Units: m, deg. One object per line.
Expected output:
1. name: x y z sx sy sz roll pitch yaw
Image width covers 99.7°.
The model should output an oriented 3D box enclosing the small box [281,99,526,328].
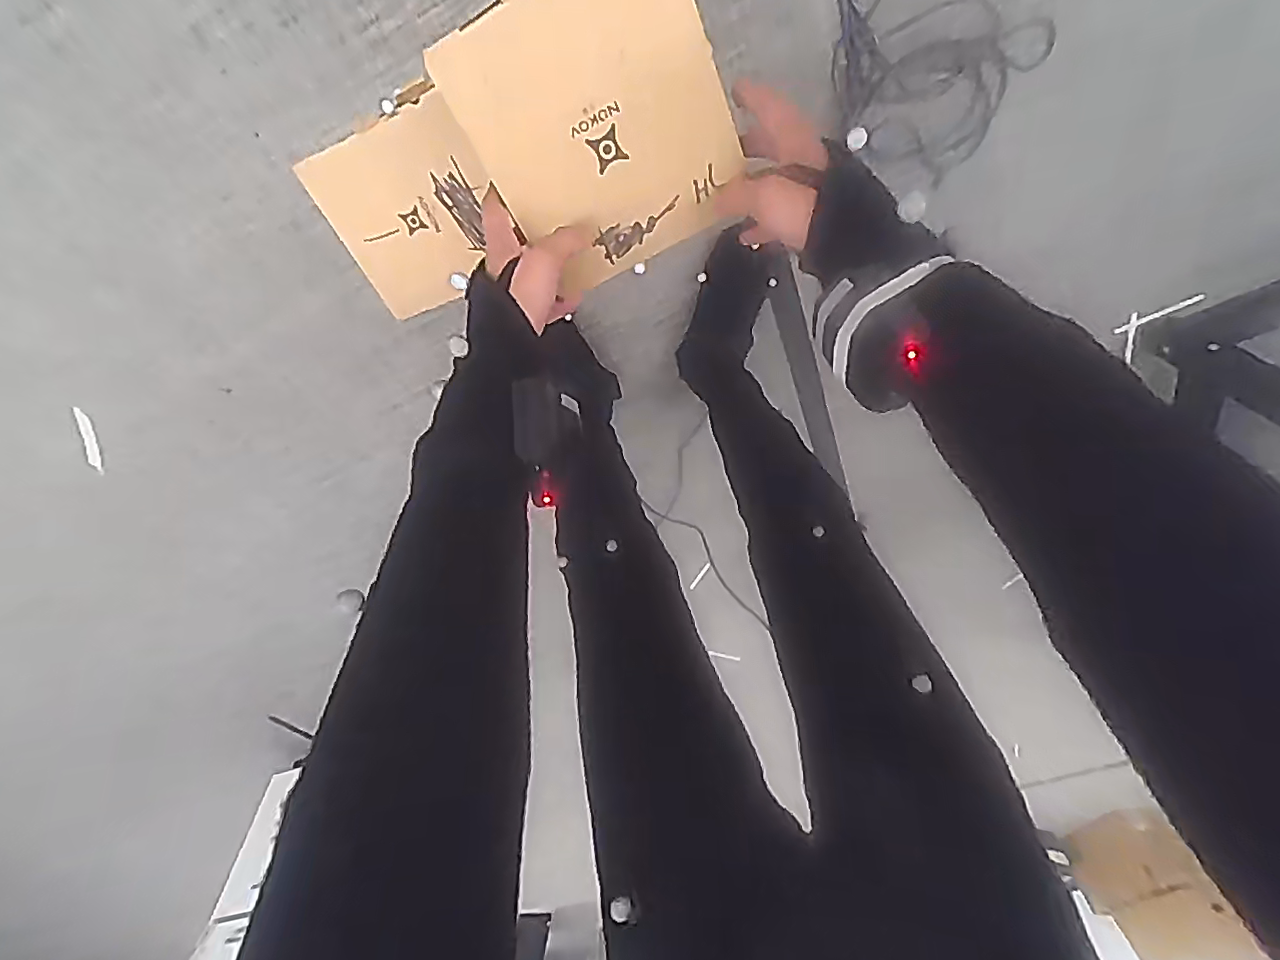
1. small box: -0.229 -0.301 0.590 0.179 0.176 0.168 -18 129 12

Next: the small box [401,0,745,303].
1. small box: -0.039 -0.273 0.413 0.168 0.176 0.179 -22 127 15
